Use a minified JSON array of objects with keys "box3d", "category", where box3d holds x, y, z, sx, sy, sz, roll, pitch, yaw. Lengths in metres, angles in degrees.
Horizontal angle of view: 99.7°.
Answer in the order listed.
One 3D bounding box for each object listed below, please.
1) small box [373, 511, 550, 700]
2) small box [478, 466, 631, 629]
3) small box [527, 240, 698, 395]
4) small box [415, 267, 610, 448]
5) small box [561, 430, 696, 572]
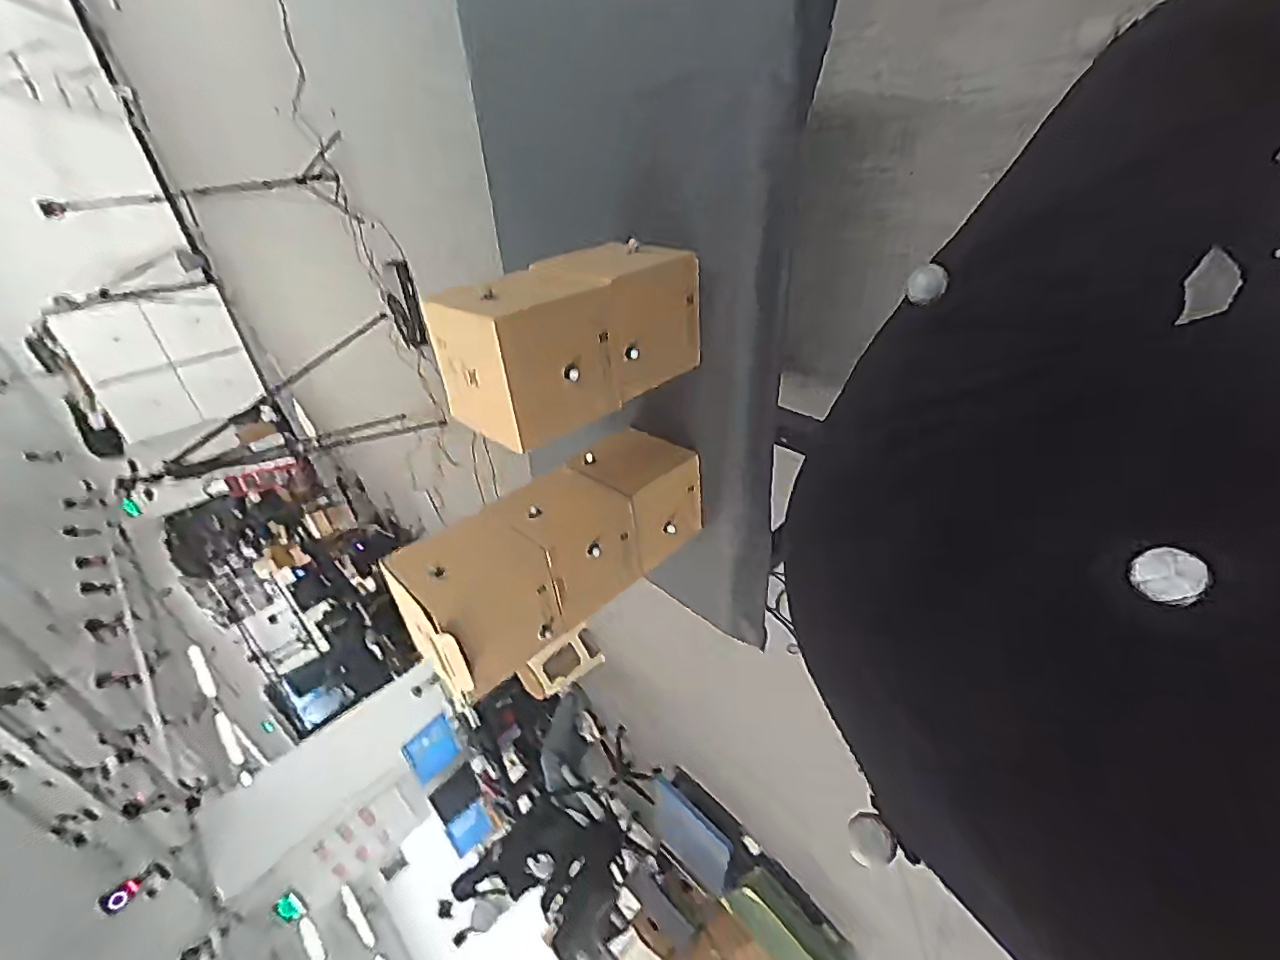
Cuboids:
[{"box3d":[-0.245,0.166,0.778,0.179,0.176,0.168,23,131,41],"category":"small box"},{"box3d":[-0.128,0.097,0.871,0.179,0.176,0.168,25,132,41],"category":"small box"},{"box3d":[-0.036,-0.245,0.786,0.179,0.176,0.168,27,135,38],"category":"small box"},{"box3d":[-0.151,-0.167,0.694,0.179,0.176,0.168,26,133,38],"category":"small box"},{"box3d":[-0.013,0.027,0.966,0.179,0.176,0.168,25,132,38],"category":"small box"}]
